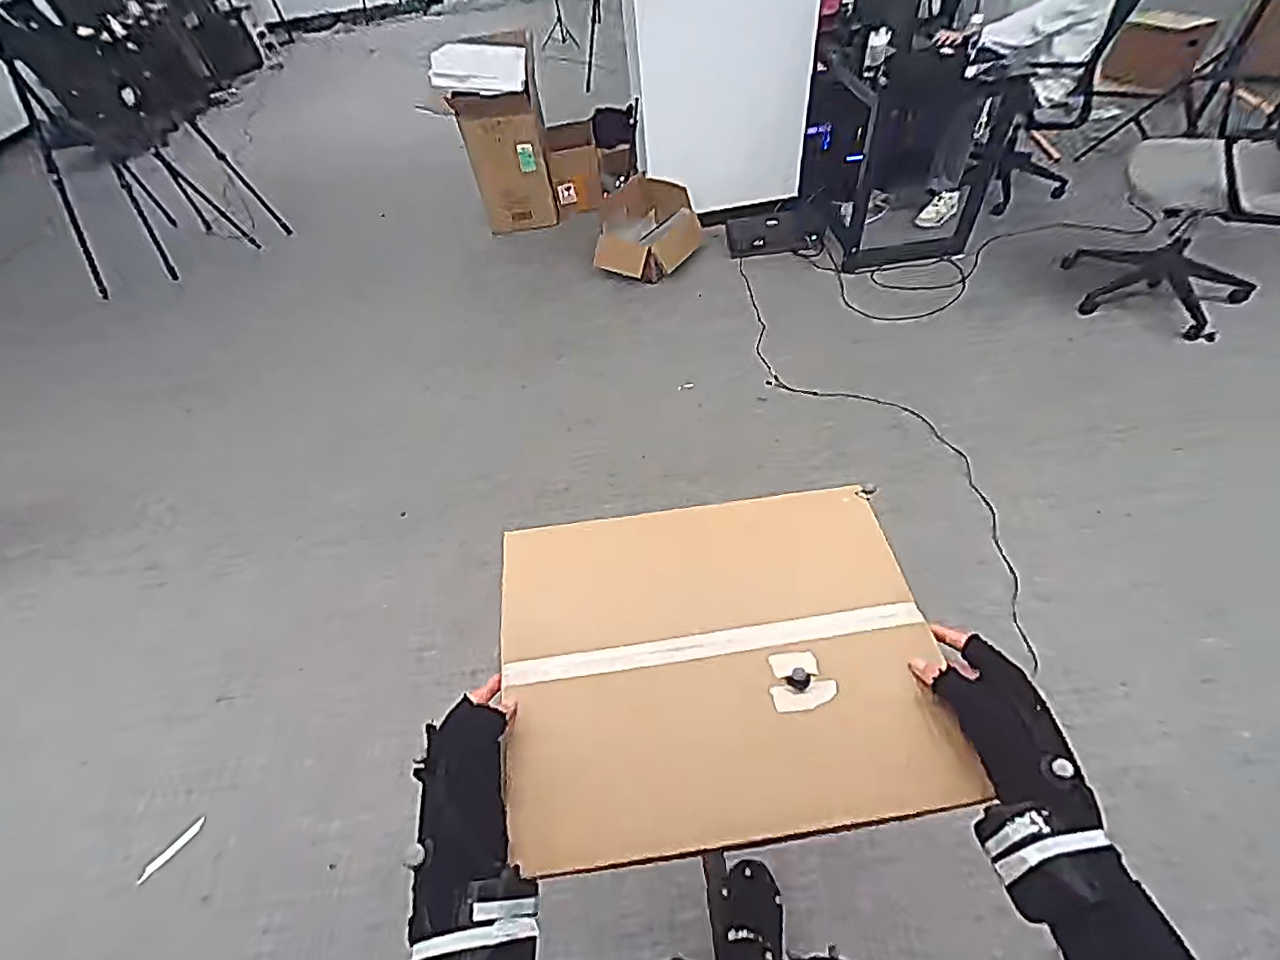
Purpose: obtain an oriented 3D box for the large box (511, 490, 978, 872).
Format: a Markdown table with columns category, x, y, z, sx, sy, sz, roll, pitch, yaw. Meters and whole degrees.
| category | x | y | z | sx | sy | sz | roll | pitch | yaw |
| --- | --- | --- | --- | --- | --- | --- | --- | --- | --- |
| large box | 0.076 | 0.249 | 0.651 | 0.408 | 0.320 | 0.320 | -8 | 54 | -3 |
